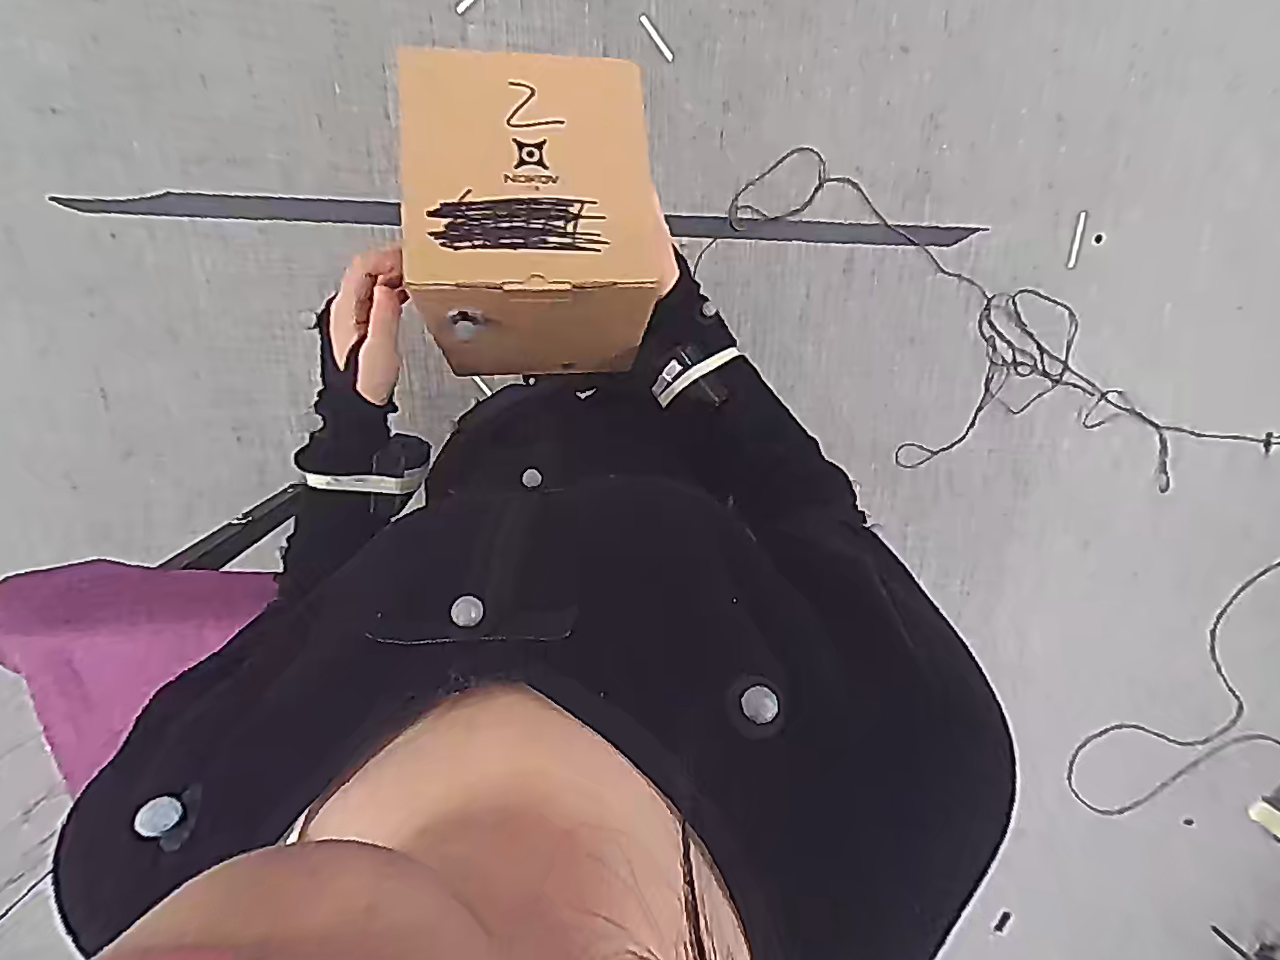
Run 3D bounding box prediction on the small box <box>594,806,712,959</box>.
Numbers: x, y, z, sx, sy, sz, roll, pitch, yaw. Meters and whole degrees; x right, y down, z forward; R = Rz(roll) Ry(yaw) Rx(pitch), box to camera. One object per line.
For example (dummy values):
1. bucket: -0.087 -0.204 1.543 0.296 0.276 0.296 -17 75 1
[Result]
1. small box: 0.012 0.659 0.876 0.168 0.176 0.179 0 105 -7
